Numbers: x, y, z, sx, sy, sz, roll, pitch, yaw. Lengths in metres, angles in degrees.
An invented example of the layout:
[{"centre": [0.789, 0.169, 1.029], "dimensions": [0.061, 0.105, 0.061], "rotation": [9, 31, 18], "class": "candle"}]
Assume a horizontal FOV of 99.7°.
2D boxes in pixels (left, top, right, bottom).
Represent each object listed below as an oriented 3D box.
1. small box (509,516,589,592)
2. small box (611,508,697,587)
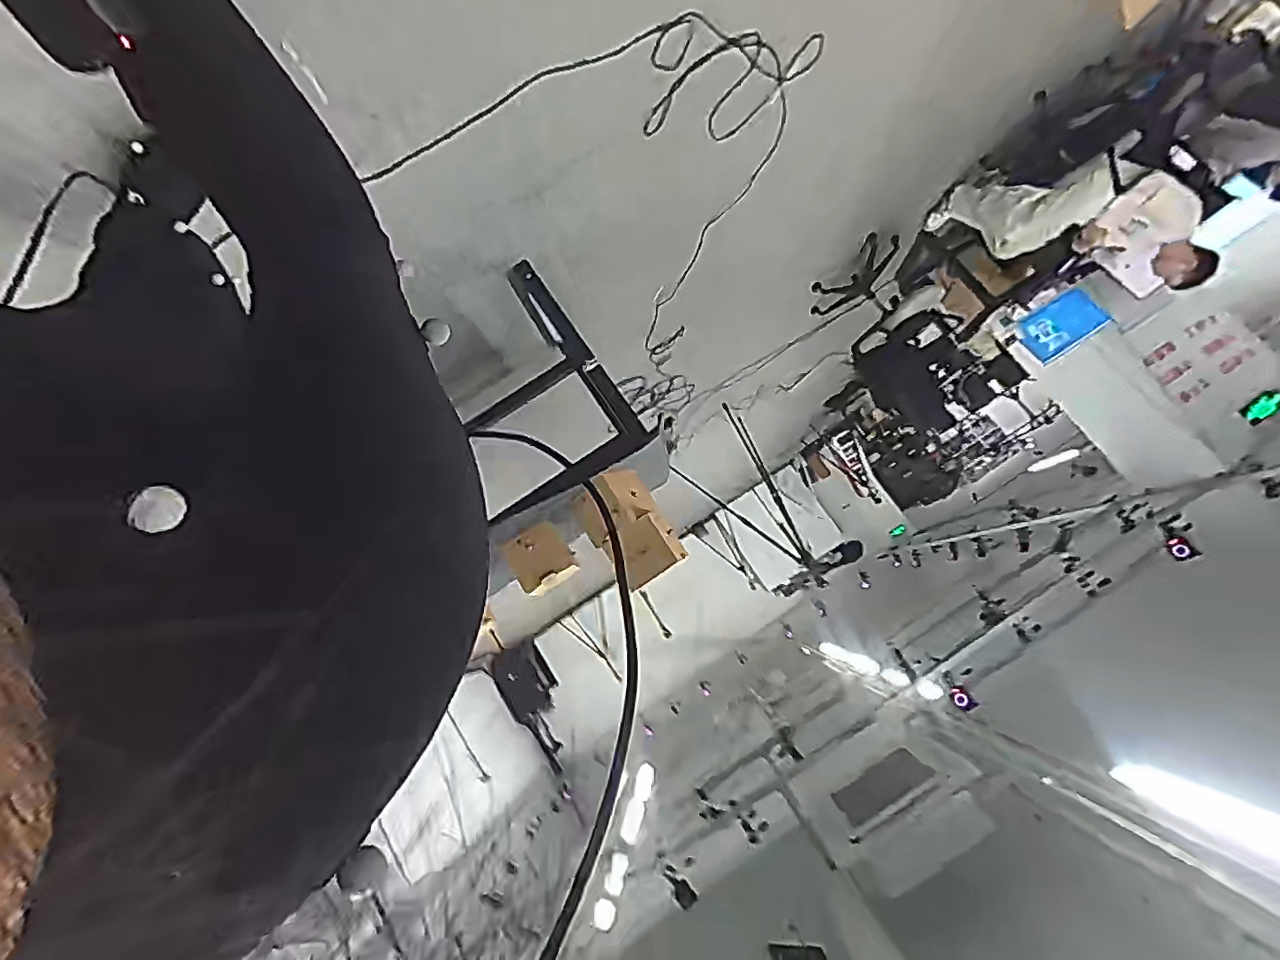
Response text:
[{"centre": [-0.280, 0.229, 1.678], "dimensions": [0.168, 0.176, 0.179], "rotation": [-34, 167, -5], "class": "small box"}, {"centre": [0.043, 0.196, 1.625], "dimensions": [0.179, 0.176, 0.168], "rotation": [-38, 166, 12], "class": "small box"}]
